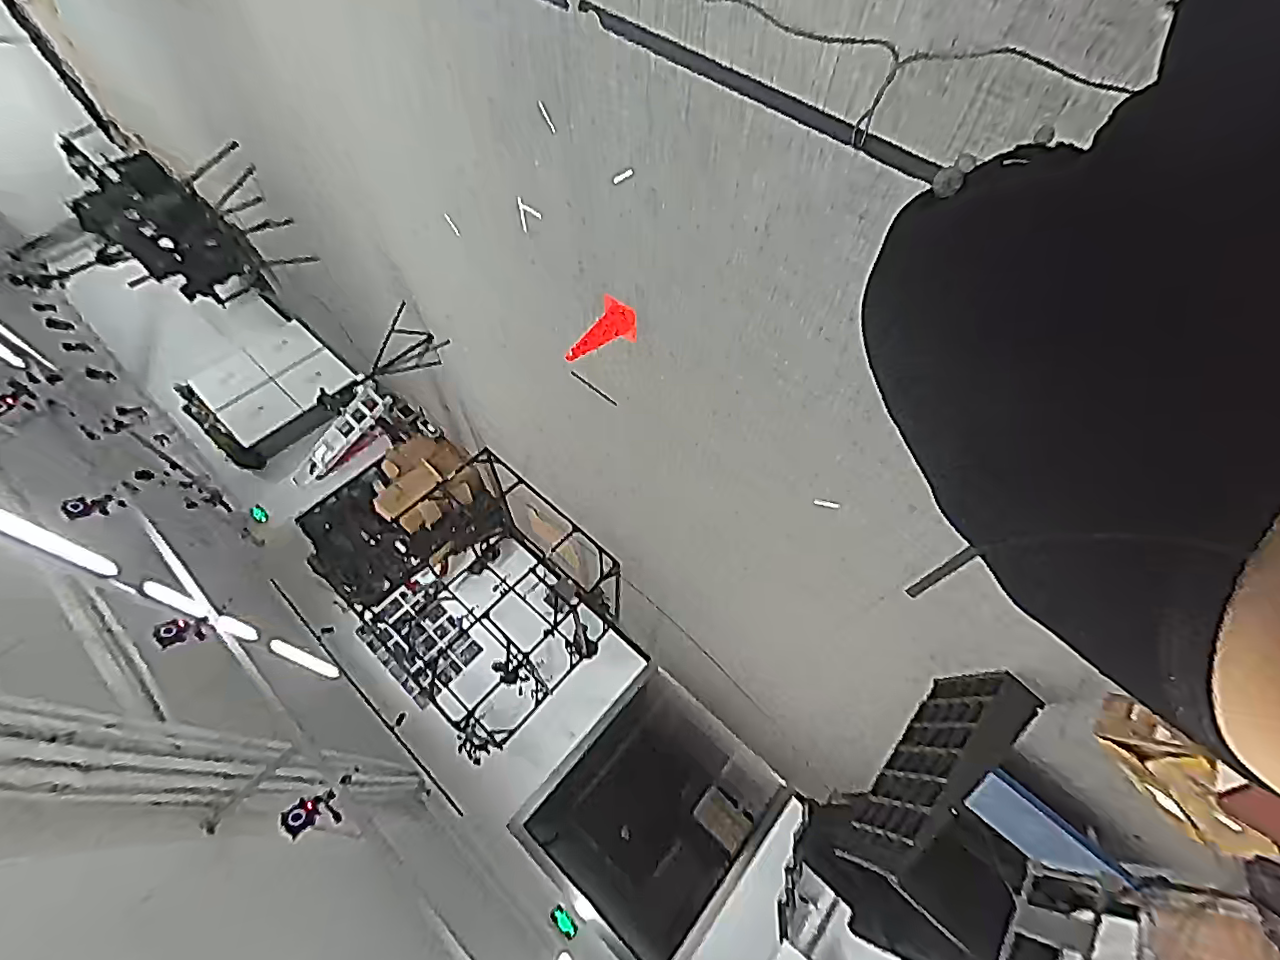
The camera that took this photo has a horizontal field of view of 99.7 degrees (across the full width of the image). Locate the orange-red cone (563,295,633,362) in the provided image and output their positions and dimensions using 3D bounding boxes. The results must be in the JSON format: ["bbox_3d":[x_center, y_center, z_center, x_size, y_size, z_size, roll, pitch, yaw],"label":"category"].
[{"bbox_3d":[-0.219,-0.661,2.514,0.199,0.360,0.198,35,155,21],"label":"orange-red cone"}]
